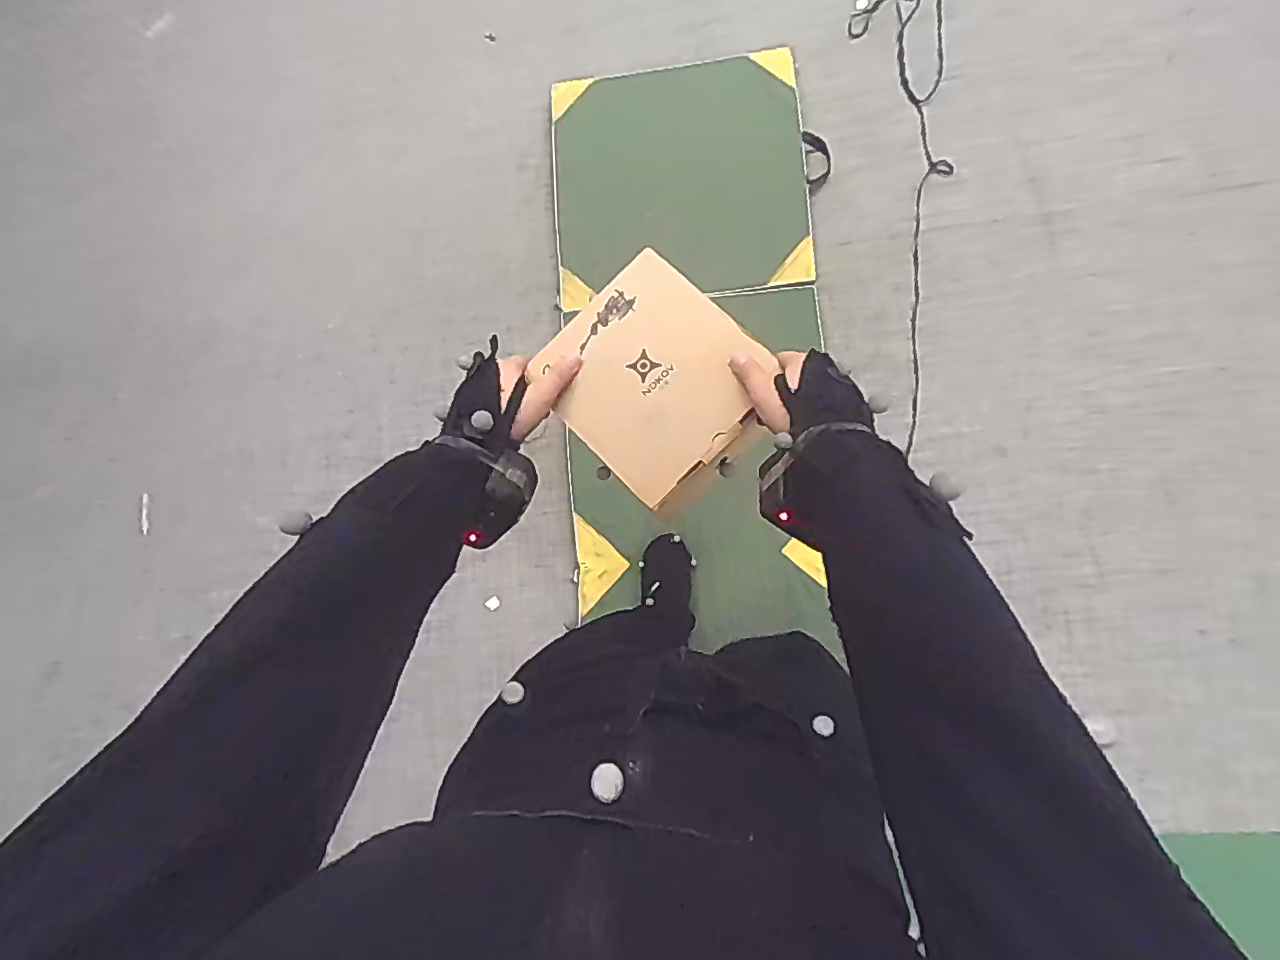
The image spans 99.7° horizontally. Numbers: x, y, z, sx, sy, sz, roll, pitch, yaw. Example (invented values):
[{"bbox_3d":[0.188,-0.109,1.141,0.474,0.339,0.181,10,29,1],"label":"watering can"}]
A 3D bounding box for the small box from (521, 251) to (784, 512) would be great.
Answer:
[{"bbox_3d":[0.017,-0.081,0.548,0.168,0.176,0.179,-44,79,-2],"label":"small box"}]
